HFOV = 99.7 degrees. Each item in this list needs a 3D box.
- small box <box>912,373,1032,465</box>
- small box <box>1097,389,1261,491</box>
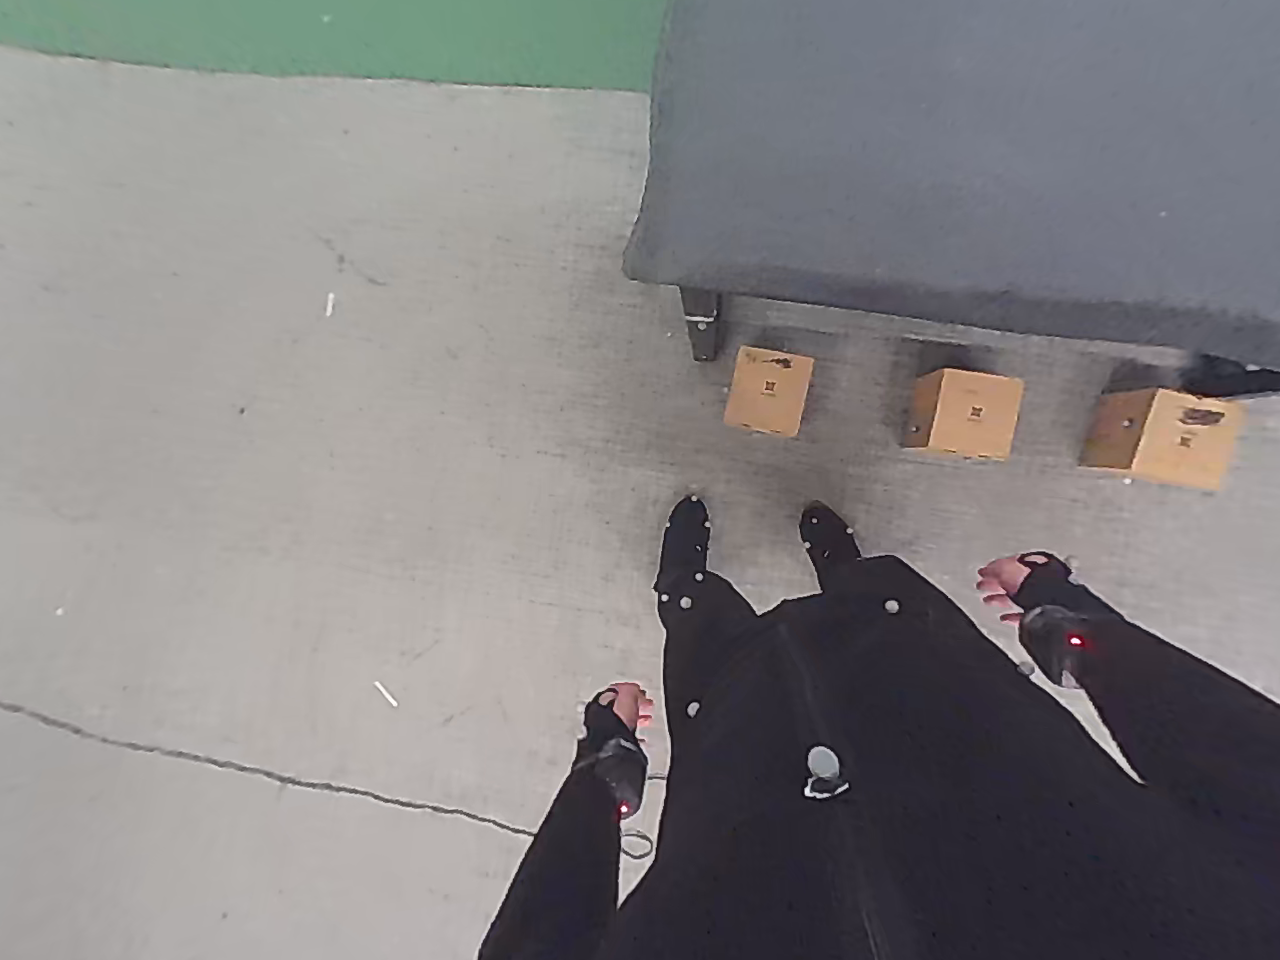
[{"bbox_3d":[0.733,-0.129,1.214,0.168,0.176,0.179,9,91,7],"label":"small box"},{"bbox_3d":[1.128,-0.082,1.149,0.168,0.176,0.179,13,94,9],"label":"small box"}]
